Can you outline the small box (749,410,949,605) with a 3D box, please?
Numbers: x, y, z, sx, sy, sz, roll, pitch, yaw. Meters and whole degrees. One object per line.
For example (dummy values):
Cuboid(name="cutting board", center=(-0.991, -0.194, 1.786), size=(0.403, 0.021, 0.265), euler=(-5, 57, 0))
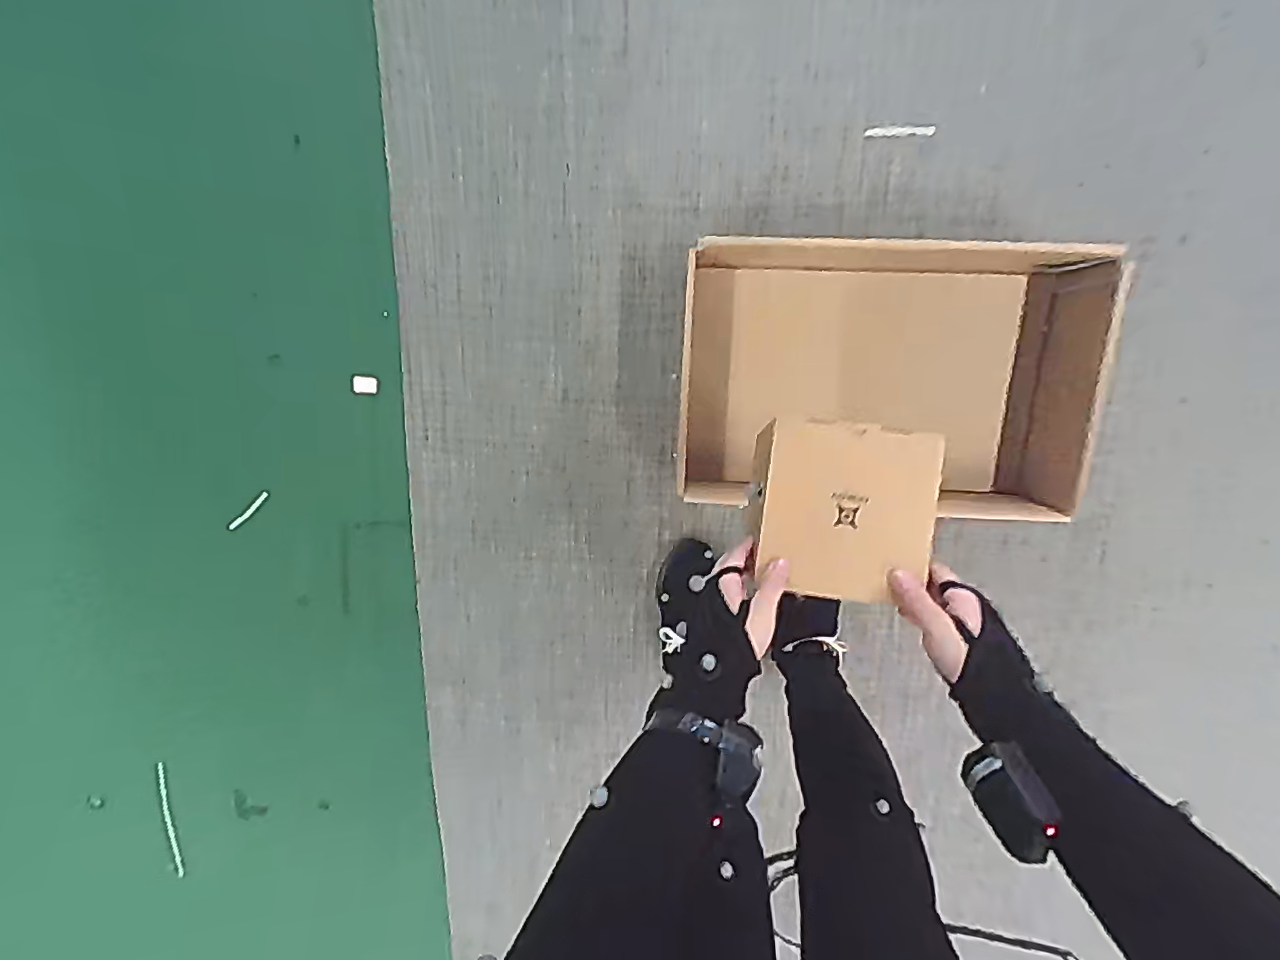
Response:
Cuboid(name="small box", center=(0.218, 0.027, 0.611), size=(0.168, 0.176, 0.179), euler=(7, 89, 7))
